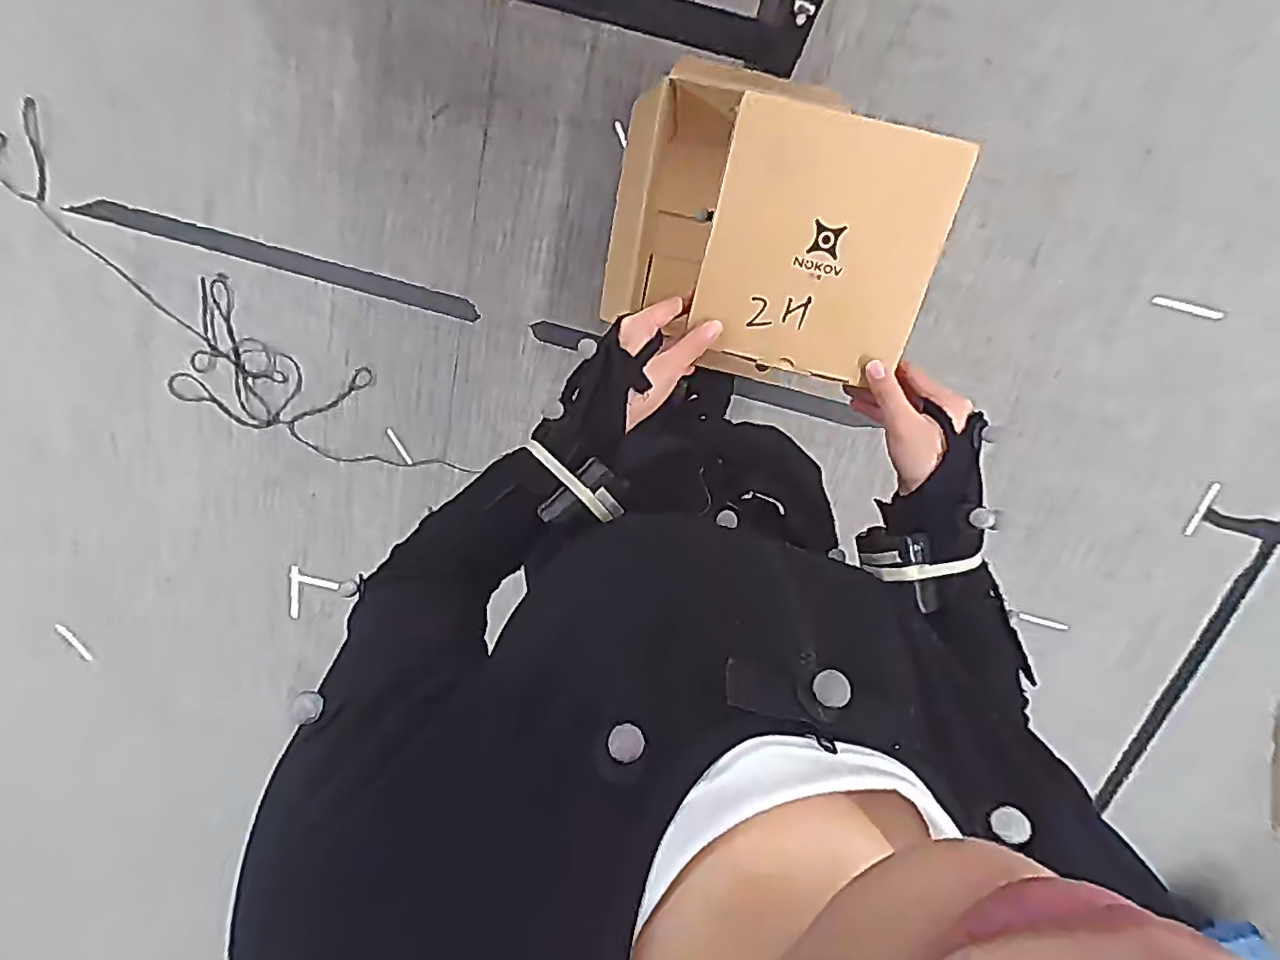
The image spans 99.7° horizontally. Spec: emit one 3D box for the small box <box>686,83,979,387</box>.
[{"bbox_3d":[0.139,-0.196,0.466,0.168,0.176,0.179,14,111,2],"label":"small box"}]
